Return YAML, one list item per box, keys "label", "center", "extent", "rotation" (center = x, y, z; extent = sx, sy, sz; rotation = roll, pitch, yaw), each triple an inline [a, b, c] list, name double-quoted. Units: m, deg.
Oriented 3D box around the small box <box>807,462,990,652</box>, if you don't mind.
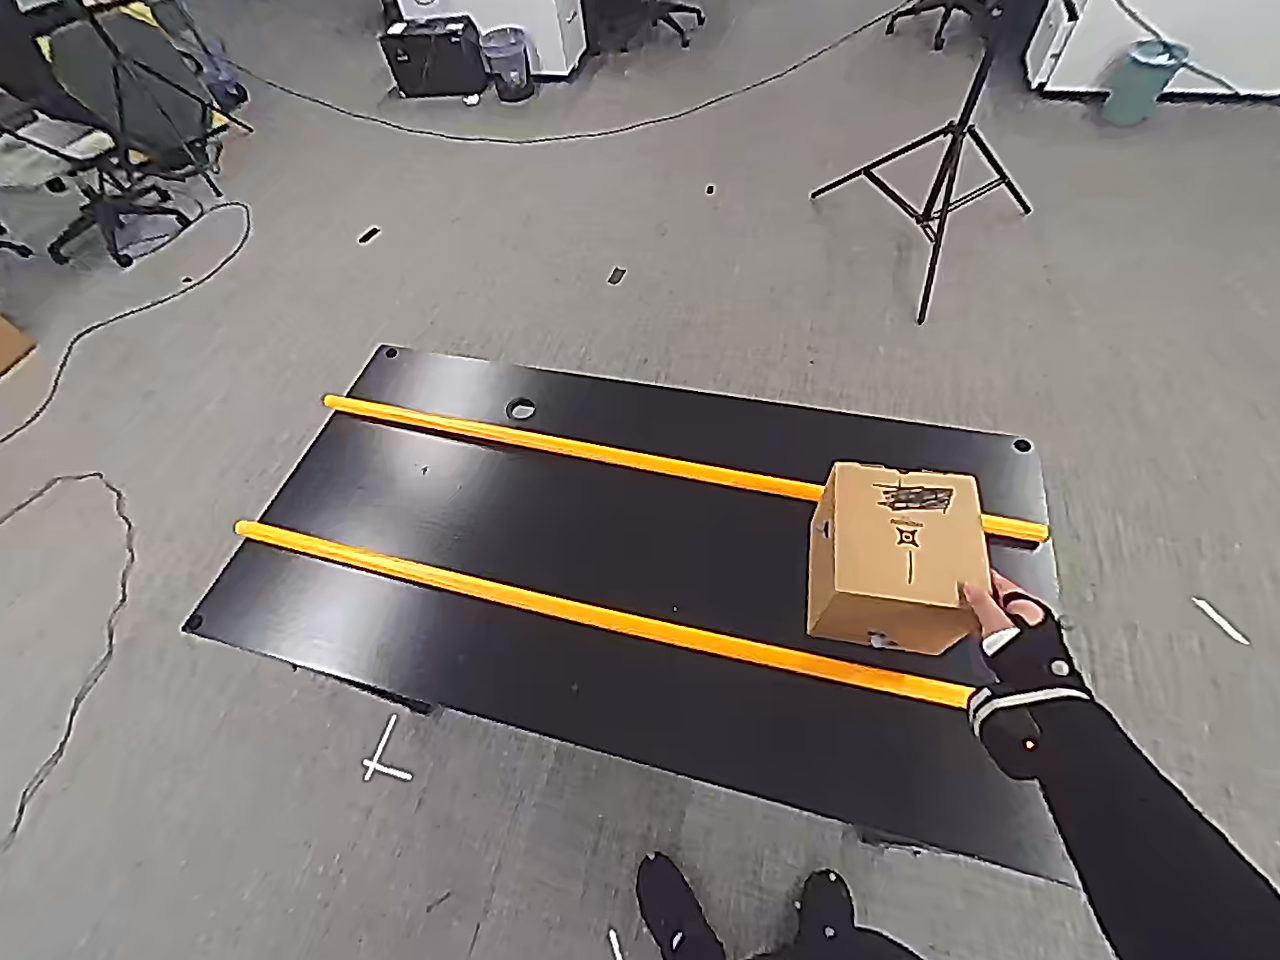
- label: "small box"
  center: [0.315, 0.102, 0.698]
  extent: [0.168, 0.176, 0.179]
  rotation: [7, 59, 10]
